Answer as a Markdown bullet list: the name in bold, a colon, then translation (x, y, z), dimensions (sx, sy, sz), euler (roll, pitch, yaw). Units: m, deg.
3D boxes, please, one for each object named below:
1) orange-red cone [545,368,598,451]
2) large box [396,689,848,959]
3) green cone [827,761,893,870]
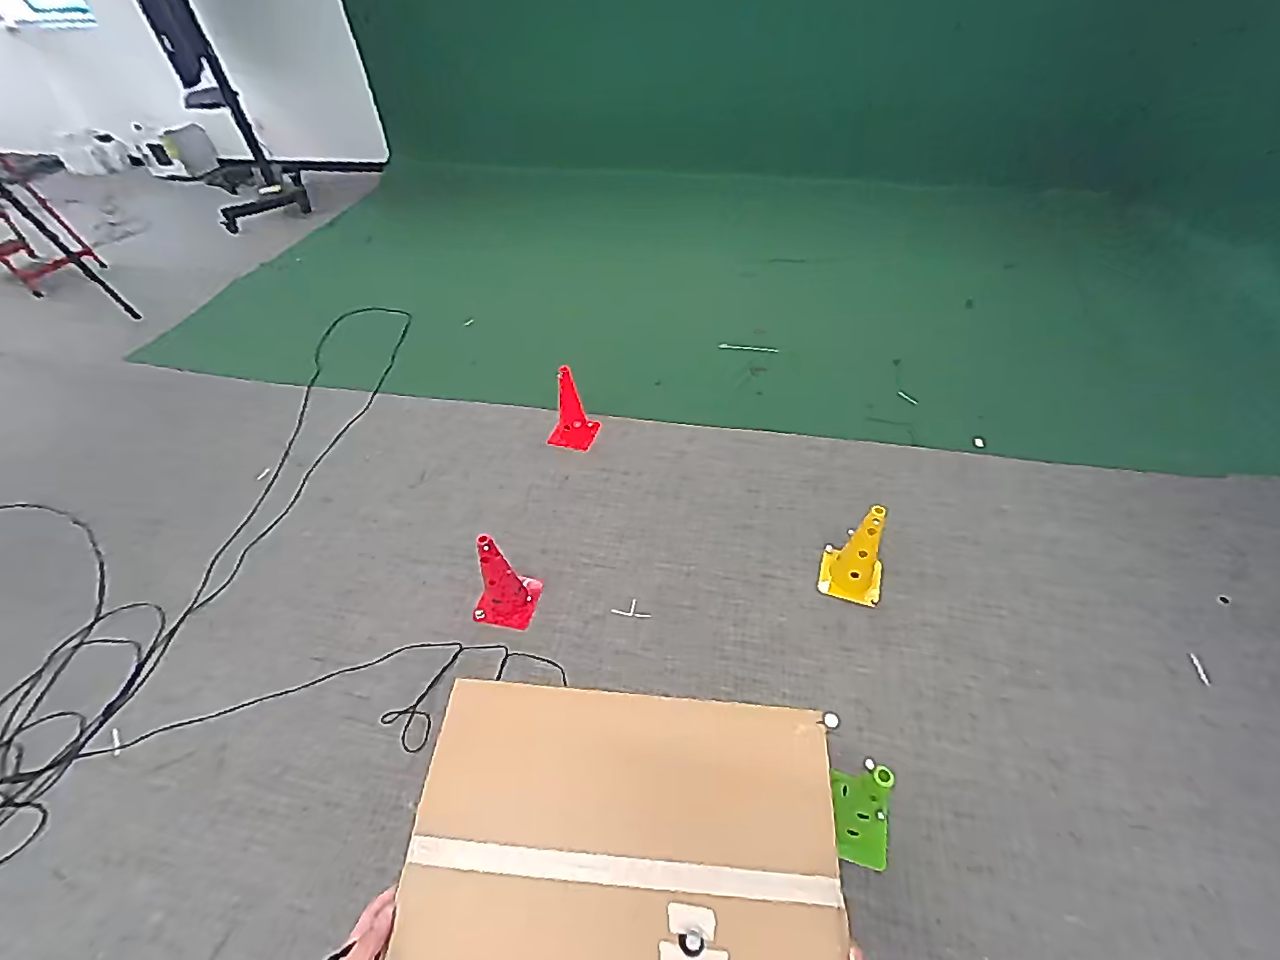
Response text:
- **orange-red cone**: translation (-0.318, -0.325, 2.326), dimensions (0.199, 0.360, 0.198), euler (11, 48, 15)
- **large box**: translation (-0.013, 0.454, 0.630), dimensions (0.408, 0.320, 0.320), euler (4, 56, 2)
- **green cone**: translation (0.529, 0.752, 1.281), dimensions (0.200, 0.368, 0.202), euler (11, 47, 12)
